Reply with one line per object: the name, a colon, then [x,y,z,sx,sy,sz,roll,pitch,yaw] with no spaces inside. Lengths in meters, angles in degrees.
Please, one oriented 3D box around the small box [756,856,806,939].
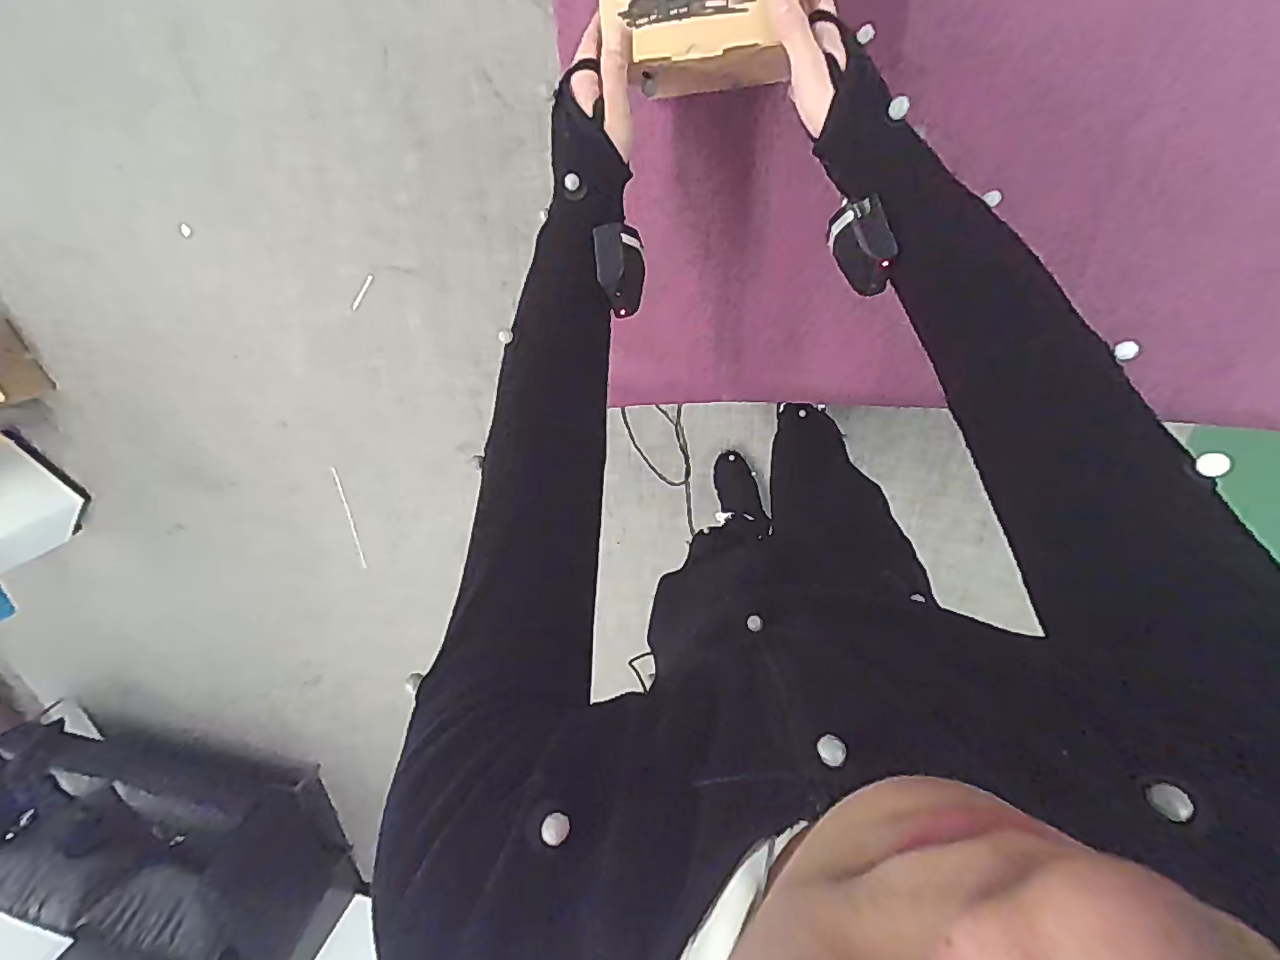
small box: [0.529,1.562,2.027,0.168,0.176,0.179,5,119,13]
